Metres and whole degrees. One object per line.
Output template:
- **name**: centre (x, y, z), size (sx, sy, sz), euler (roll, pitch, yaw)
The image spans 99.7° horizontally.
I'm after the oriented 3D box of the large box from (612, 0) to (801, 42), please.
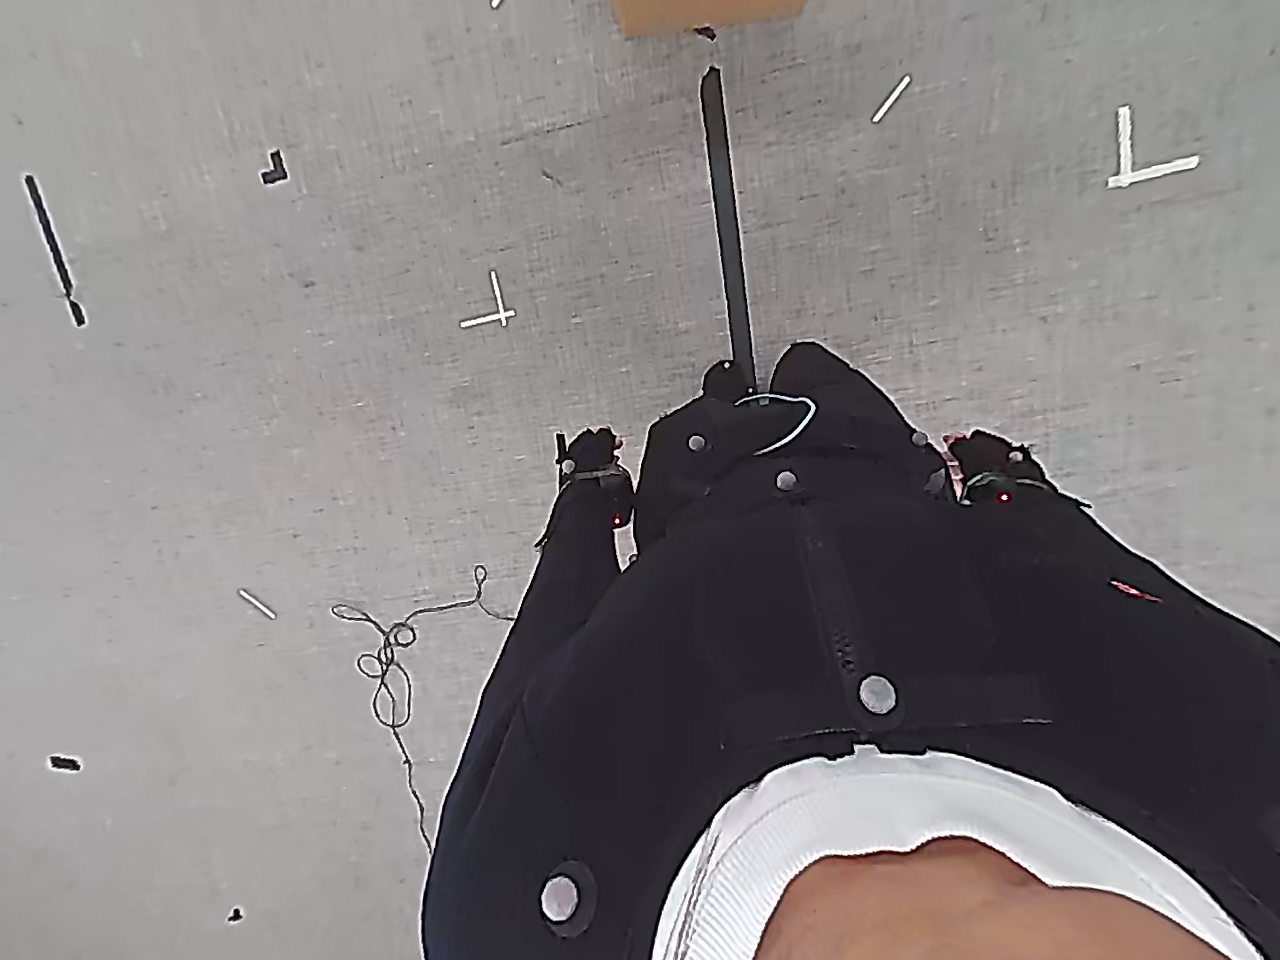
- **large box**: centre (0.125, -1.125, 1.042), size (0.408, 0.320, 0.320), euler (-3, 104, 6)
